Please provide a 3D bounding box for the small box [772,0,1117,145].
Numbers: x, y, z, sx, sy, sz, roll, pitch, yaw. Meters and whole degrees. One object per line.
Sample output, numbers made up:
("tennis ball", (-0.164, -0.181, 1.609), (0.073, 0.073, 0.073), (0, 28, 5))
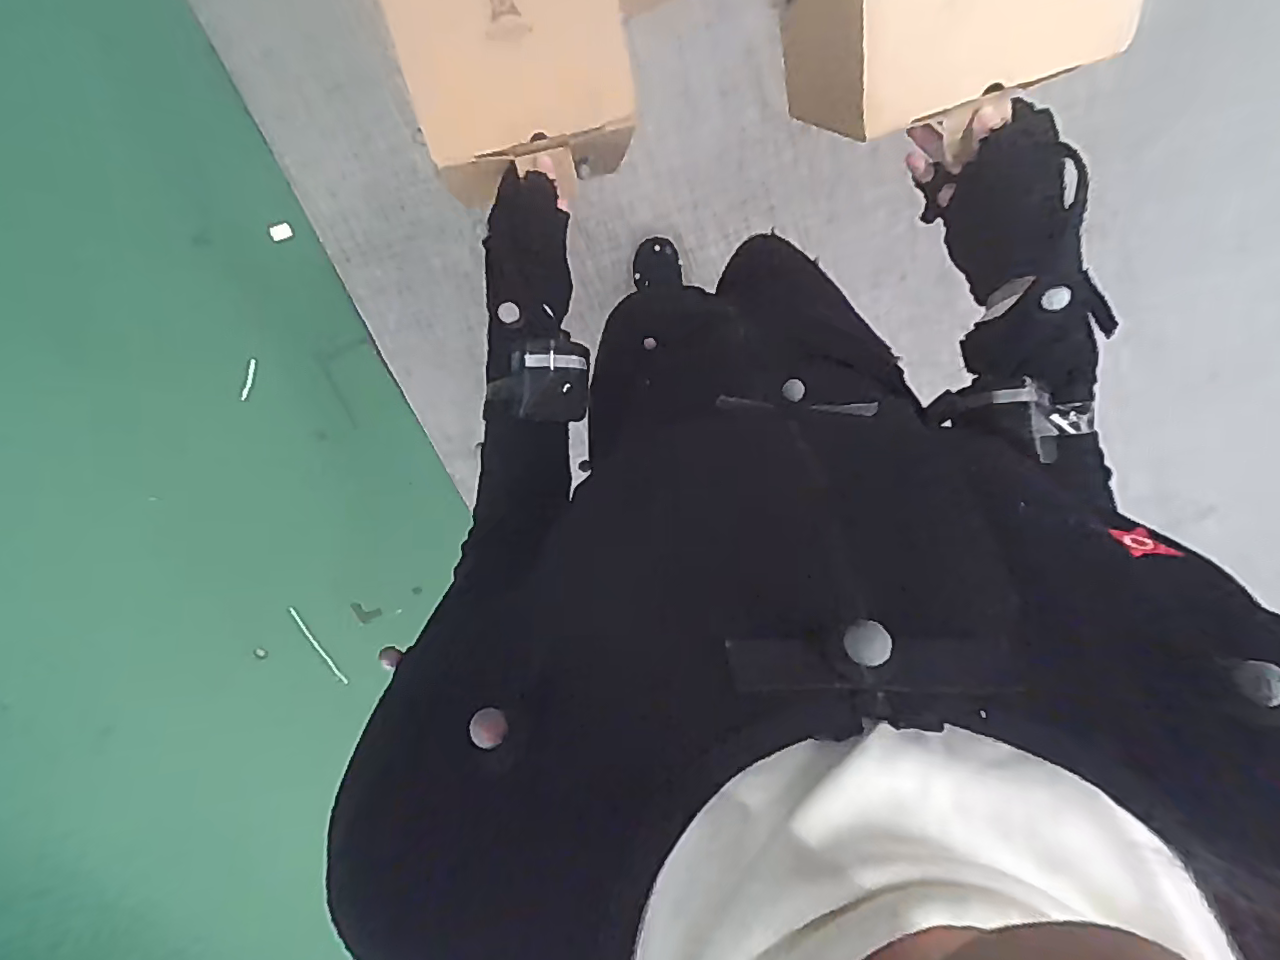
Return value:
("small box", (0.189, -0.362, 0.364), (0.168, 0.176, 0.179), (-16, 129, 8))
